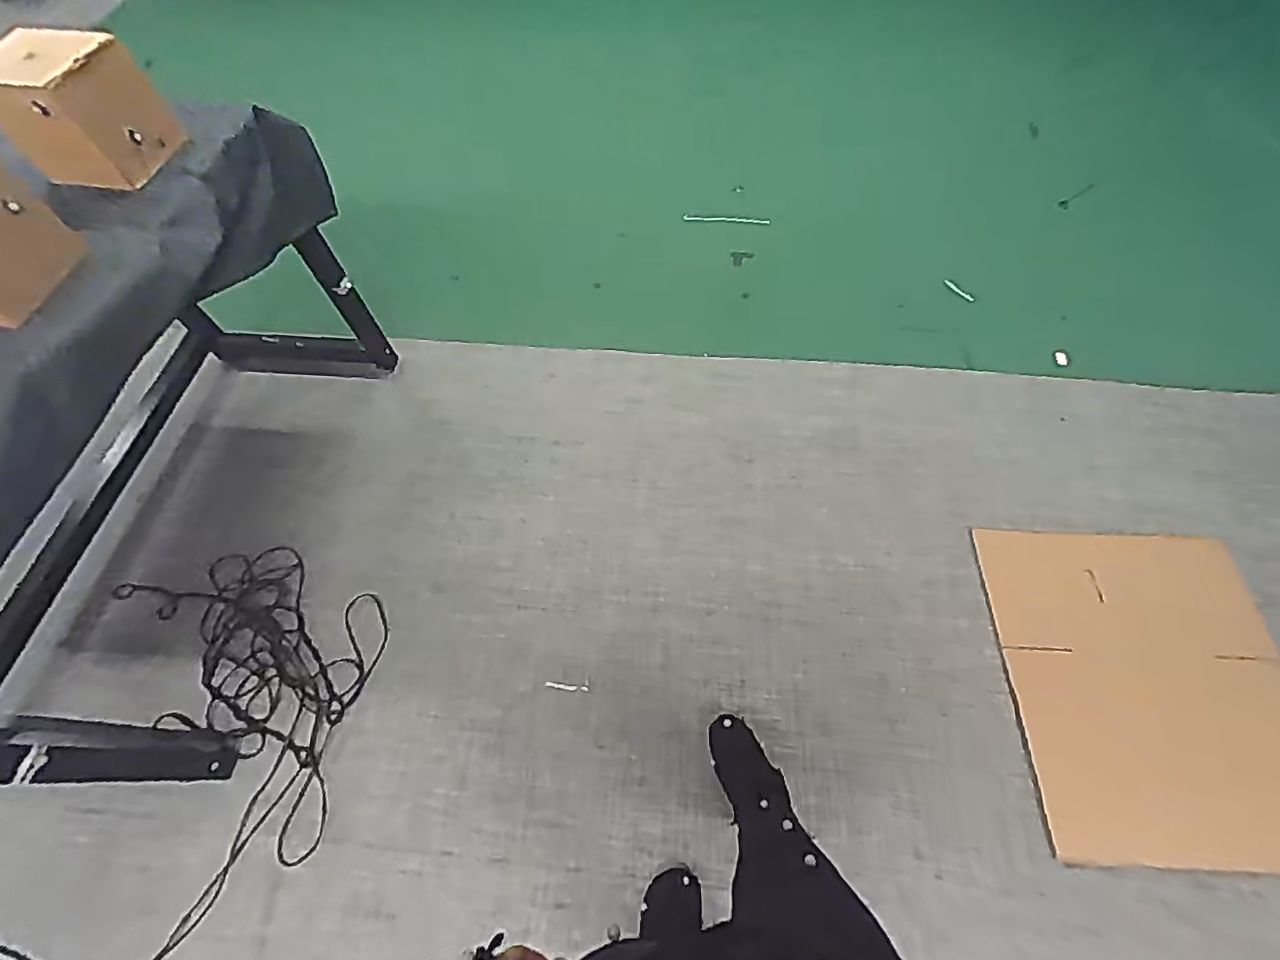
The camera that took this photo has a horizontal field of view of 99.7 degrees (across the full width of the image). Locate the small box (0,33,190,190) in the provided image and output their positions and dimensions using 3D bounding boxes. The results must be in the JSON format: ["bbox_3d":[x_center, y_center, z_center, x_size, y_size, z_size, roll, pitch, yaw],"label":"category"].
[{"bbox_3d":[-0.945,-0.624,0.924,0.179,0.176,0.168,8,62,6],"label":"small box"}]
